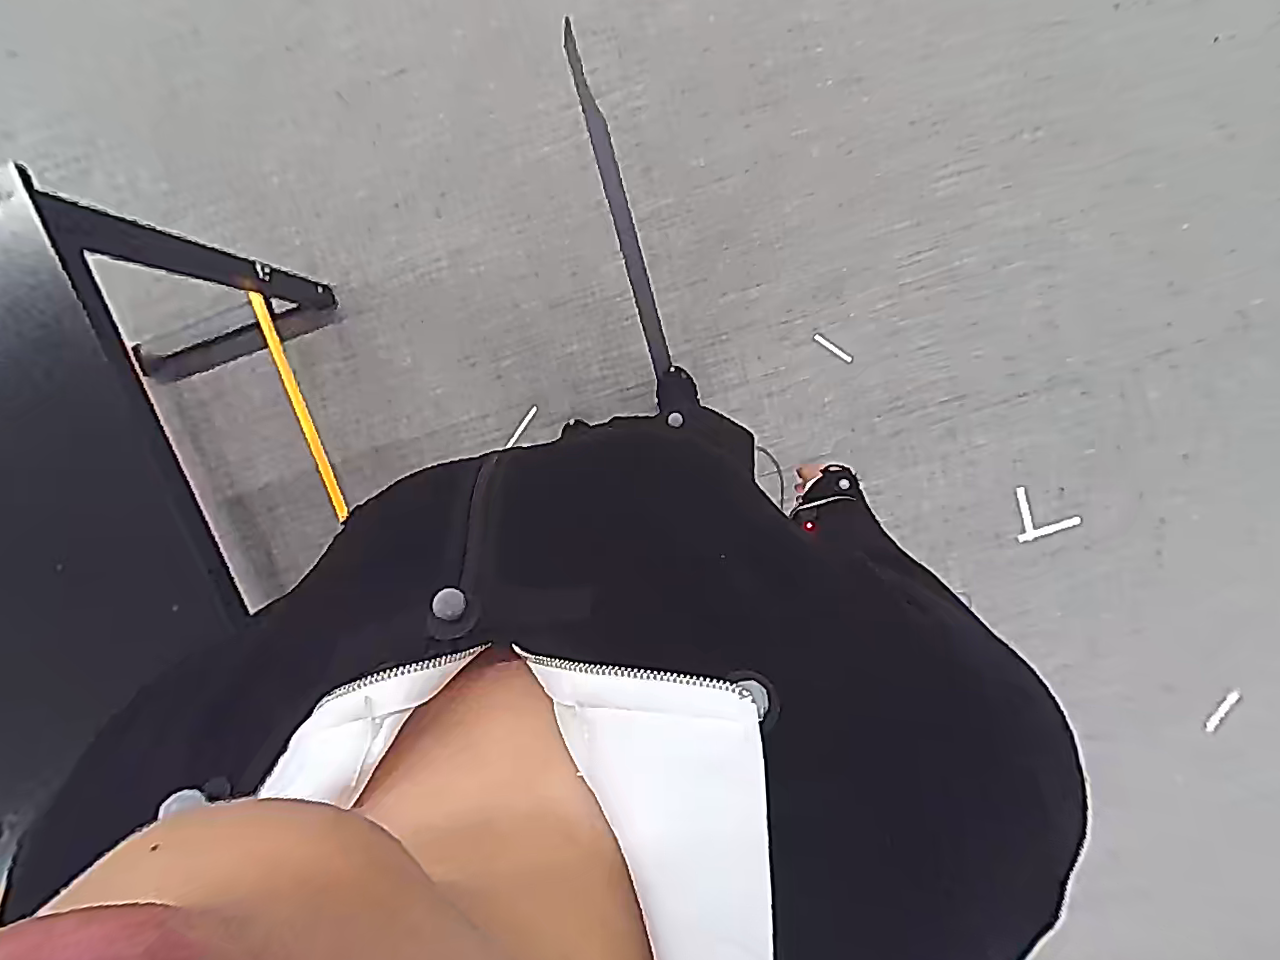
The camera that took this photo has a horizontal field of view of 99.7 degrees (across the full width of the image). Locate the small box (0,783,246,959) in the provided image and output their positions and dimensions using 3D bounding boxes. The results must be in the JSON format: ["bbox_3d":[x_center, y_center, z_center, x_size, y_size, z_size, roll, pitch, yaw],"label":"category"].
[{"bbox_3d":[-0.719,0.570,0.765,0.179,0.176,0.168,-15,100,2],"label":"small box"}]

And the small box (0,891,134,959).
[{"bbox_3d":[-0.725,0.603,0.603,0.168,0.176,0.179,-14,100,3],"label":"small box"}]
